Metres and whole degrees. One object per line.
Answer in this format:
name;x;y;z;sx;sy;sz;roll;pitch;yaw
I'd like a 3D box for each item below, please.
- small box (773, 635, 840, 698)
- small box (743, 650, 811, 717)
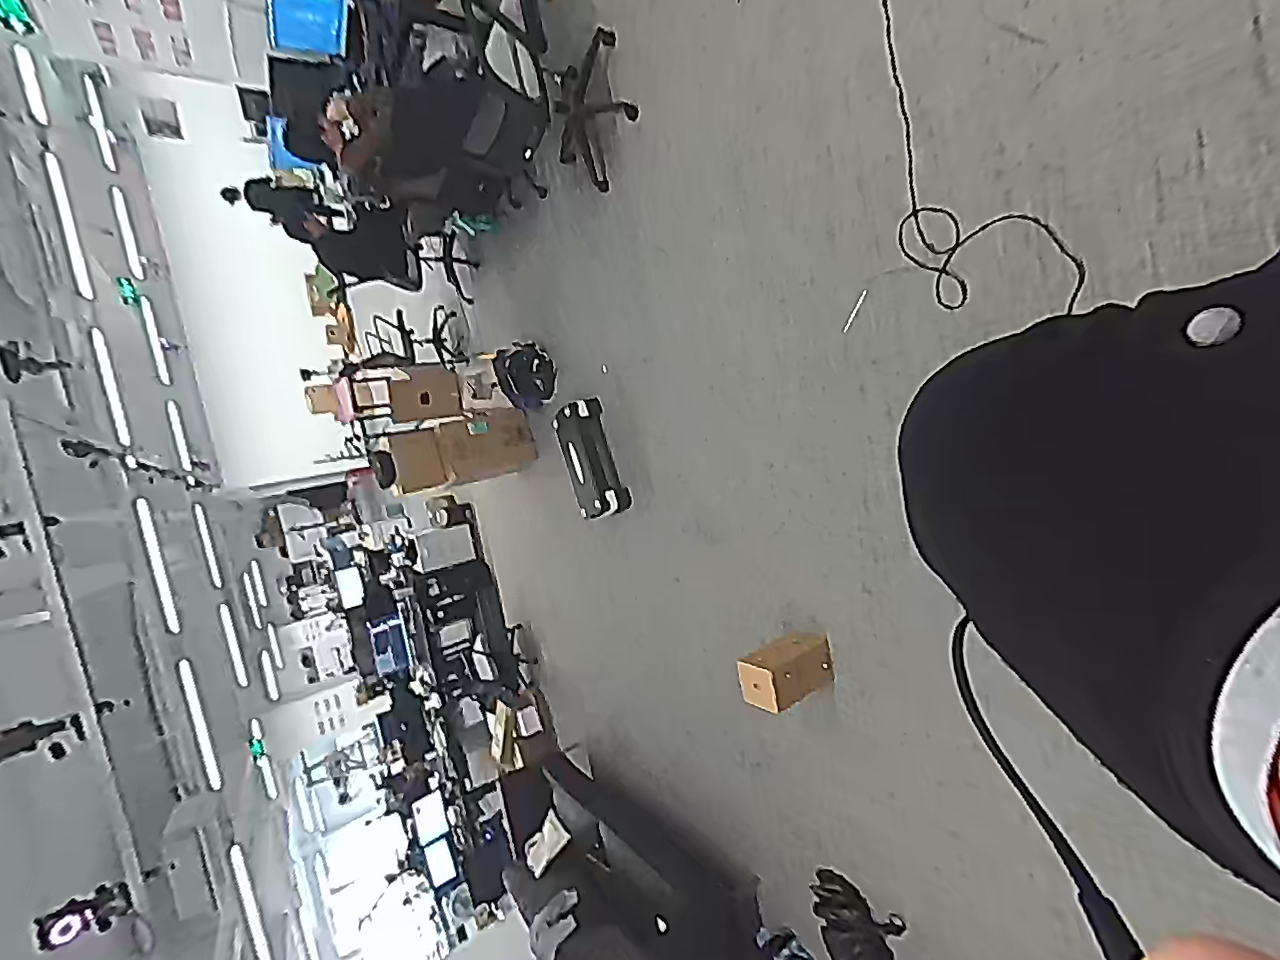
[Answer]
small box;0.653;0.722;2.120;0.179;0.176;0.168;-6;98;57
small box;0.521;0.756;2.032;0.179;0.176;0.168;-8;95;58
